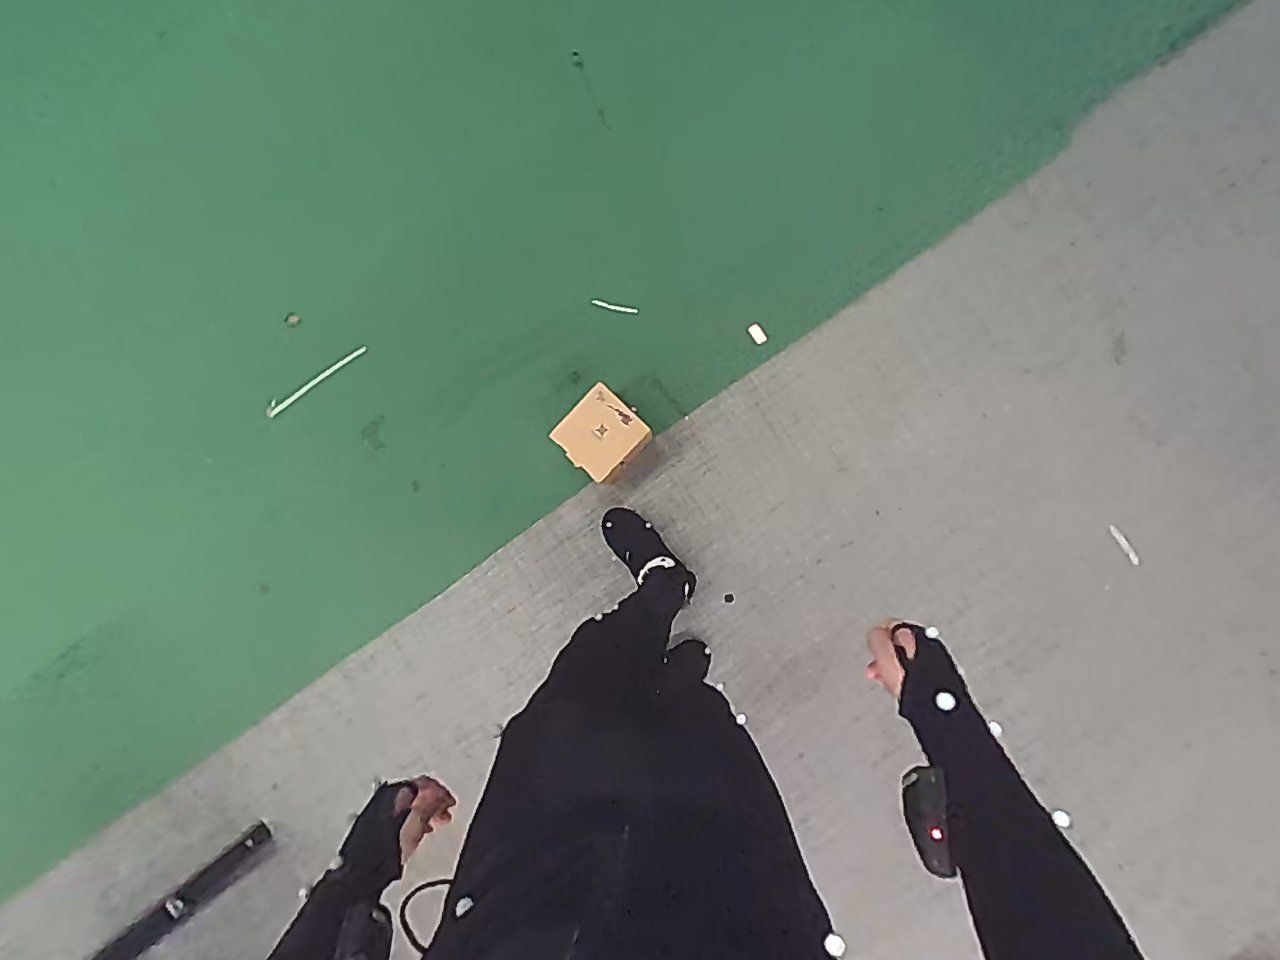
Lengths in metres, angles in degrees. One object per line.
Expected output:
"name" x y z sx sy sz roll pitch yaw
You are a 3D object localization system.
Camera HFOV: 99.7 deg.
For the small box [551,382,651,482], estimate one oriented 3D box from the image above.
"small box" -0.086 -0.108 1.320 0.168 0.176 0.179 44 91 3
